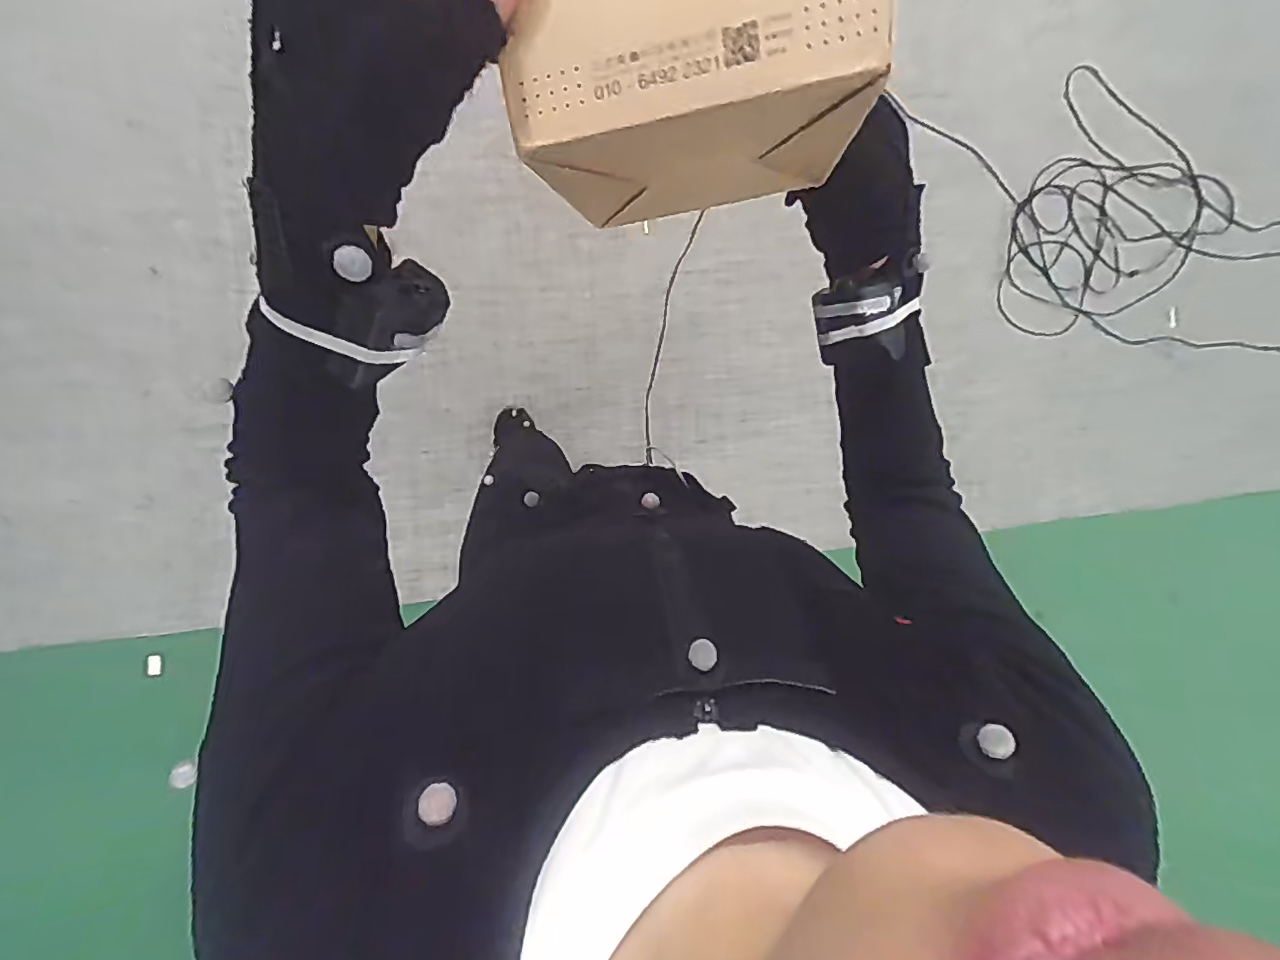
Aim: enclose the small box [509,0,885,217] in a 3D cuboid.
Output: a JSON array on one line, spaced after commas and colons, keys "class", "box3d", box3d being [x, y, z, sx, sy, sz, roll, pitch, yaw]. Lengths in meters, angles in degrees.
[{"class": "small box", "box3d": [0.026, -0.262, 0.301, 0.168, 0.179, 0.176, -7, 103, 10]}]
